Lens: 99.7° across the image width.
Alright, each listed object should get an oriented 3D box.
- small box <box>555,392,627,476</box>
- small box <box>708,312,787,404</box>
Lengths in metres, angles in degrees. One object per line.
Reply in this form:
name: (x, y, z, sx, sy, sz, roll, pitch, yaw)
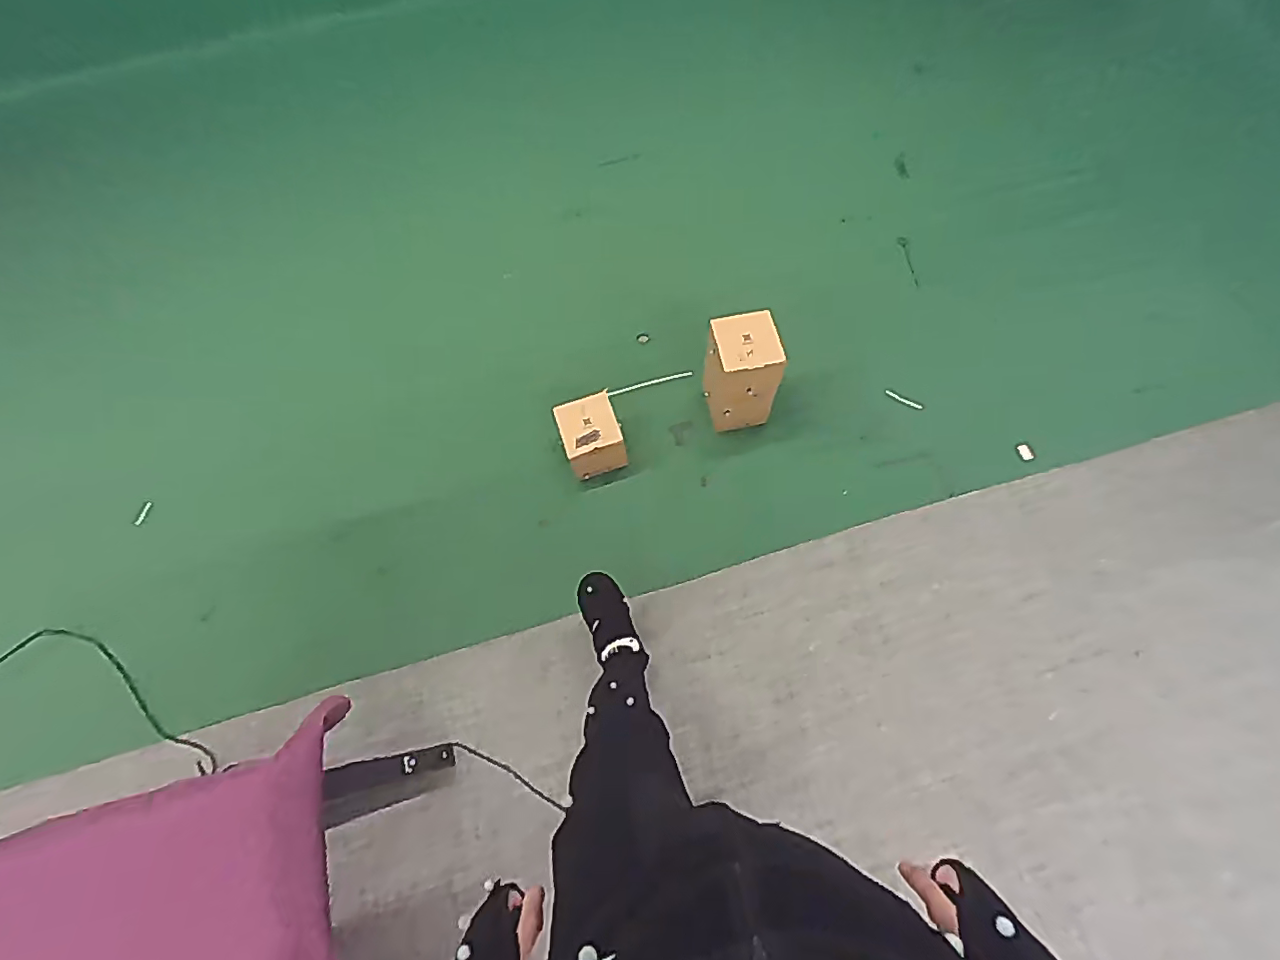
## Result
small box: (-0.141, -0.128, 1.615, 0.168, 0.176, 0.179, -18, 67, -5)
small box: (0.290, -0.335, 1.503, 0.168, 0.176, 0.179, -10, 68, -1)
